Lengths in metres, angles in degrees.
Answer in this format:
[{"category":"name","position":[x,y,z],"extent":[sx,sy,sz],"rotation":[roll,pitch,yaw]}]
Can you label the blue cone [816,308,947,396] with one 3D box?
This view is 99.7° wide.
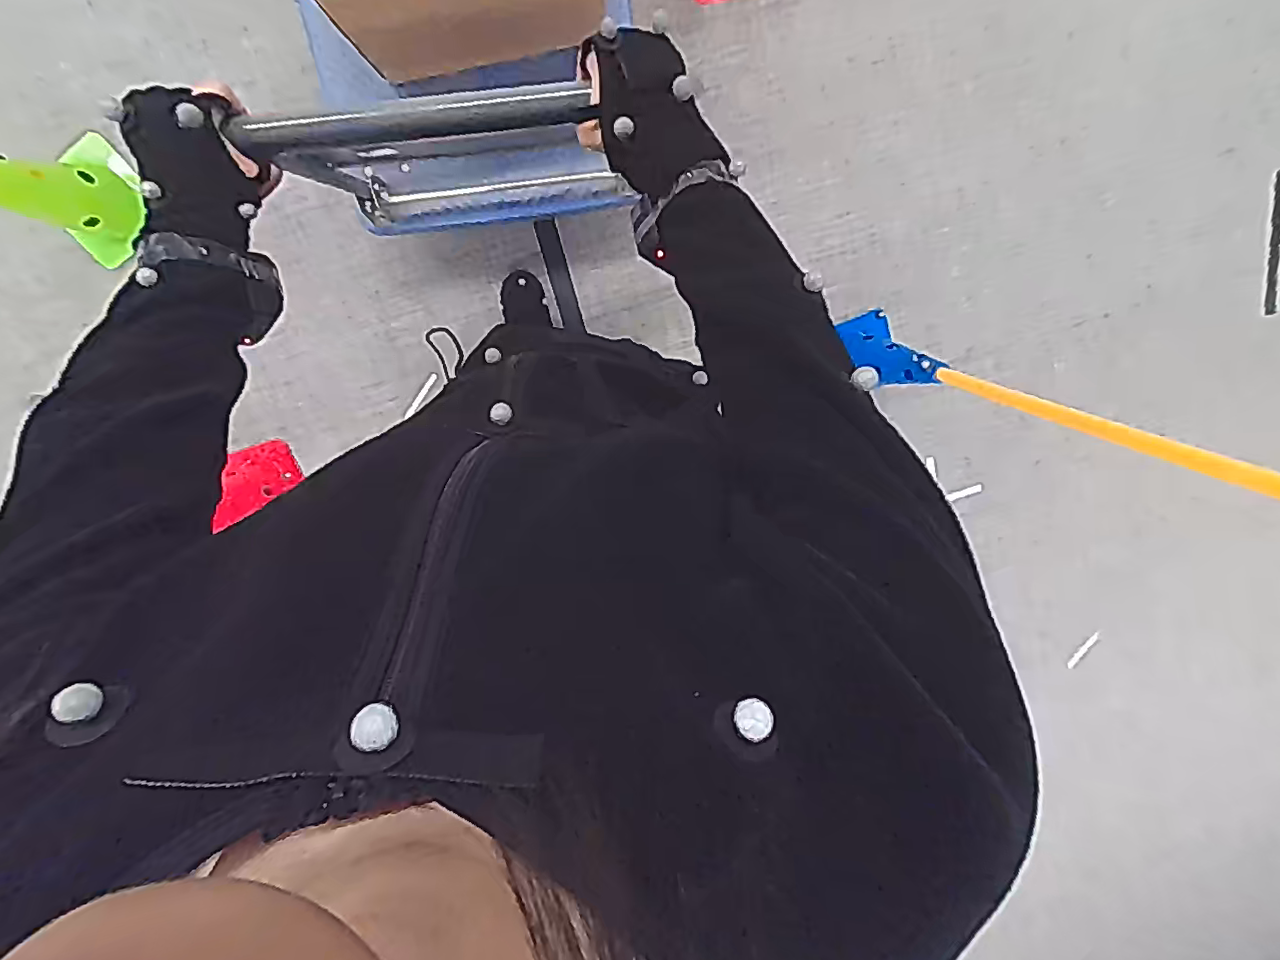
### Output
[{"category":"blue cone","position":[0.582,-0.281,1.254],"extent":[0.193,0.380,0.192],"rotation":[-20,108,1]}]
